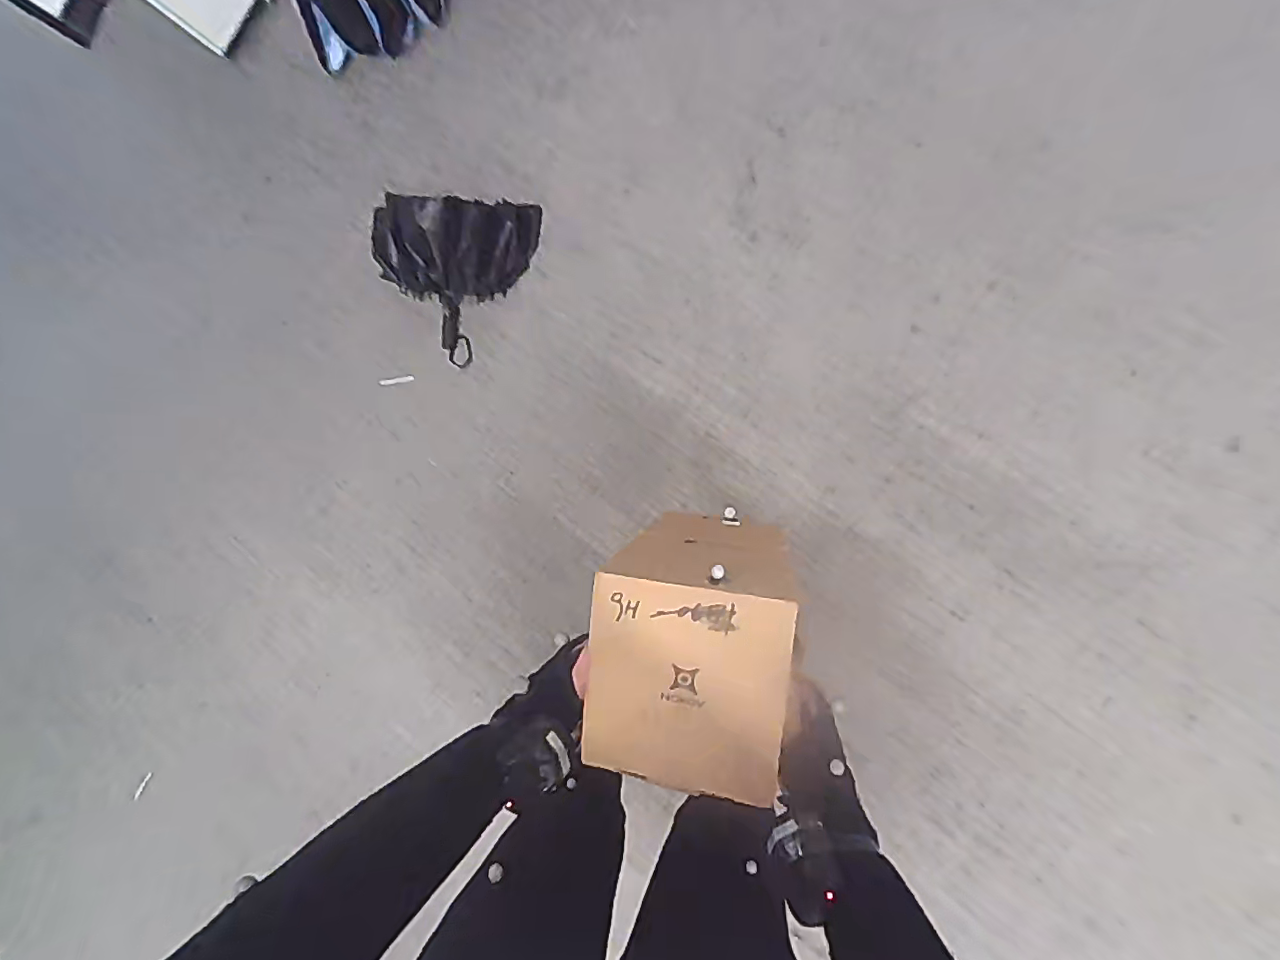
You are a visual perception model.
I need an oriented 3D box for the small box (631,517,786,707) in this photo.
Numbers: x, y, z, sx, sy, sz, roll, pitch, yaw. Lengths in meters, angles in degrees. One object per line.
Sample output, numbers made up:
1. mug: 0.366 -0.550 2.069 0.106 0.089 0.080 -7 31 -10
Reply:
1. small box: 0.091 0.151 0.678 0.168 0.176 0.179 4 95 12
